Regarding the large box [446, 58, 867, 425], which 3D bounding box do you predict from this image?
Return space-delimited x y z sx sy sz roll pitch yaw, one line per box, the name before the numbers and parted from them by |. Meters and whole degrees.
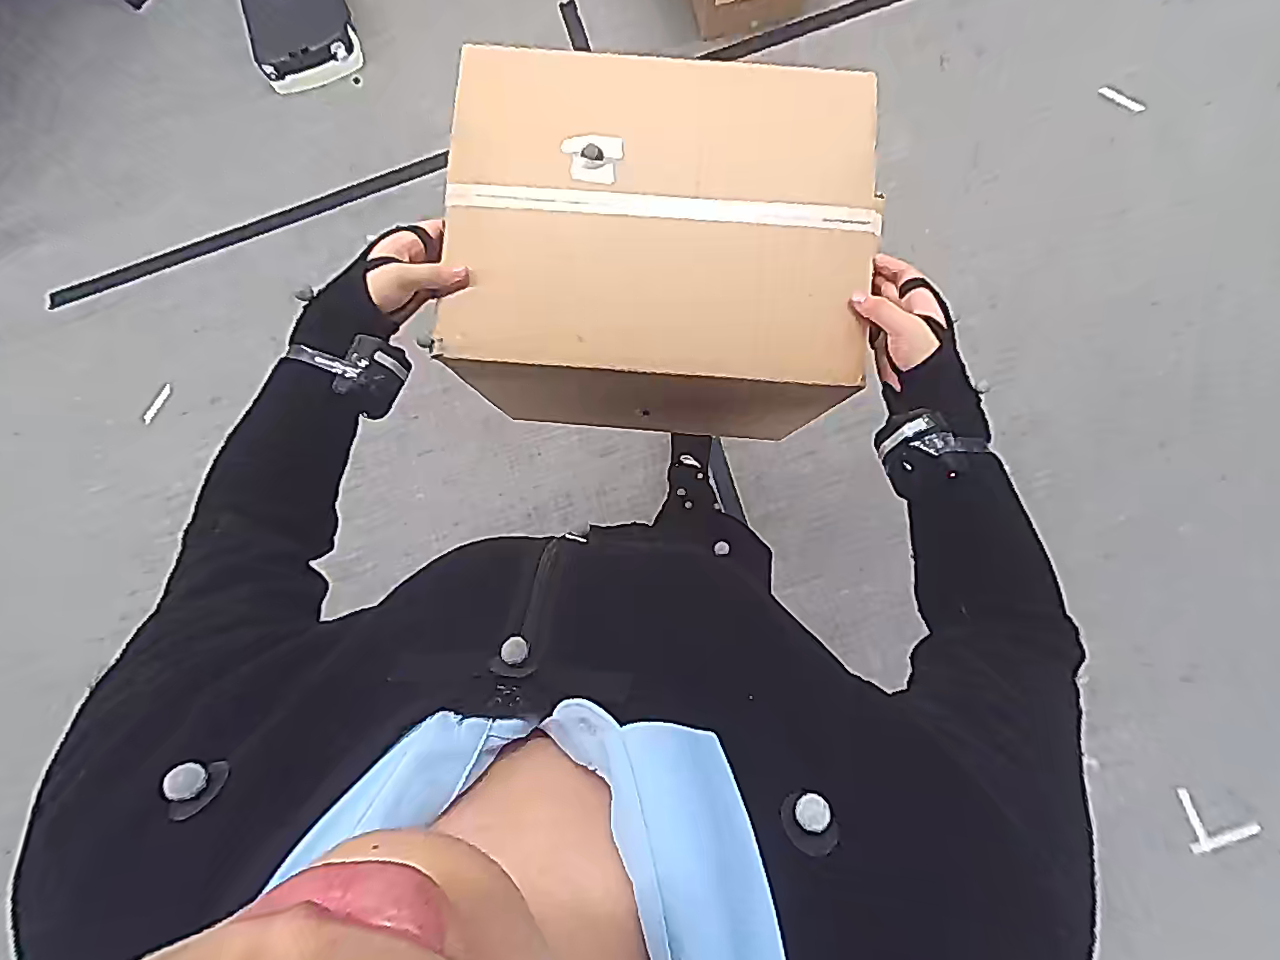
large box | 0.024 -0.251 0.672 0.408 0.320 0.320 3 84 2
